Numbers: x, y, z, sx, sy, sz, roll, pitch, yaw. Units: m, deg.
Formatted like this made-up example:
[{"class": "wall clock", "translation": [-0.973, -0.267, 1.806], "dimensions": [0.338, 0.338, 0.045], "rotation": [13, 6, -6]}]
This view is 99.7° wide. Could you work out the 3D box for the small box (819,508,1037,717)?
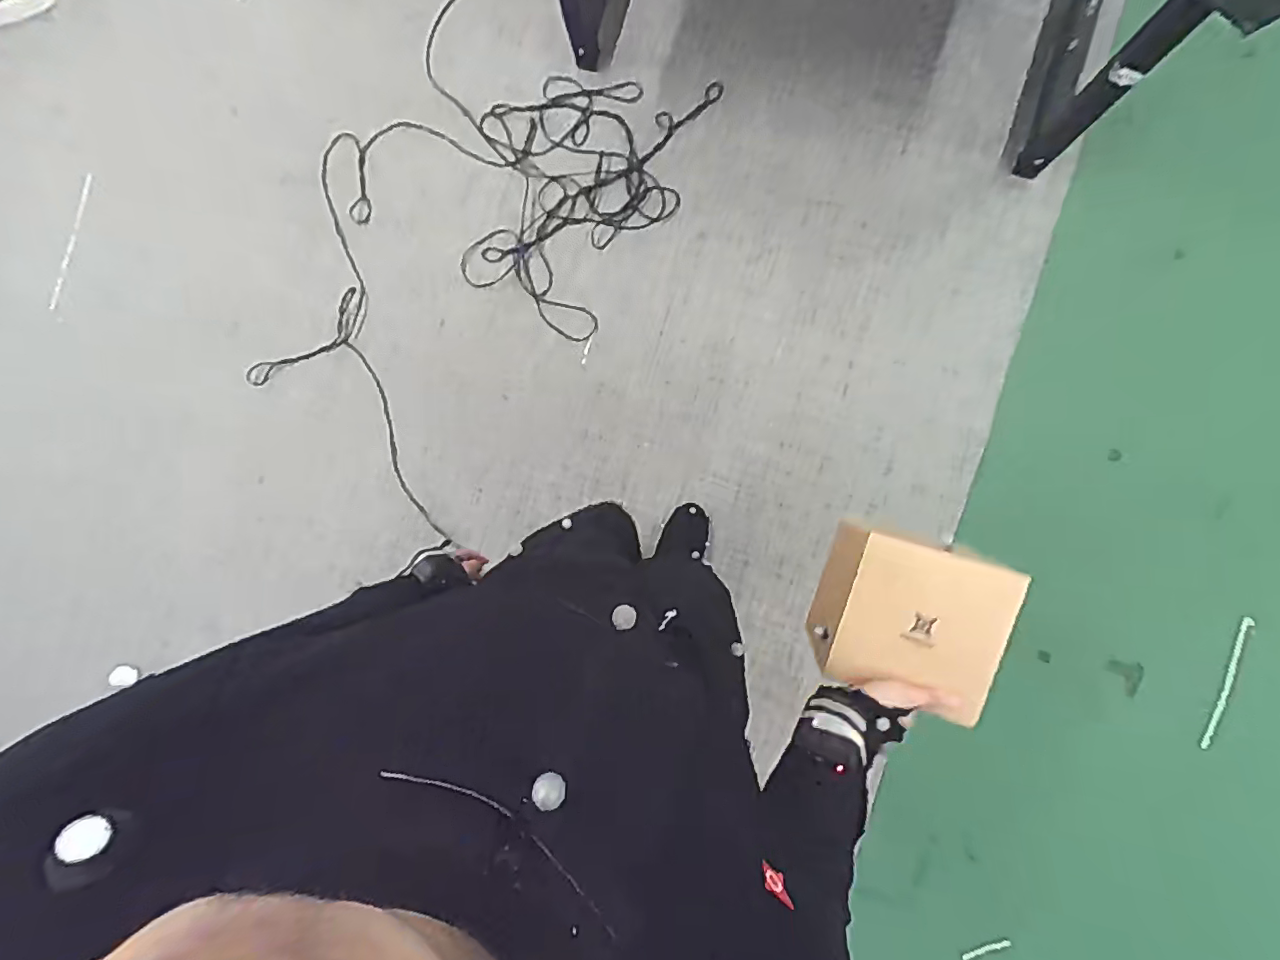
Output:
[{"class": "small box", "translation": [0.325, 0.141, 0.653], "dimensions": [0.168, 0.176, 0.179], "rotation": [15, 99, 10]}]
